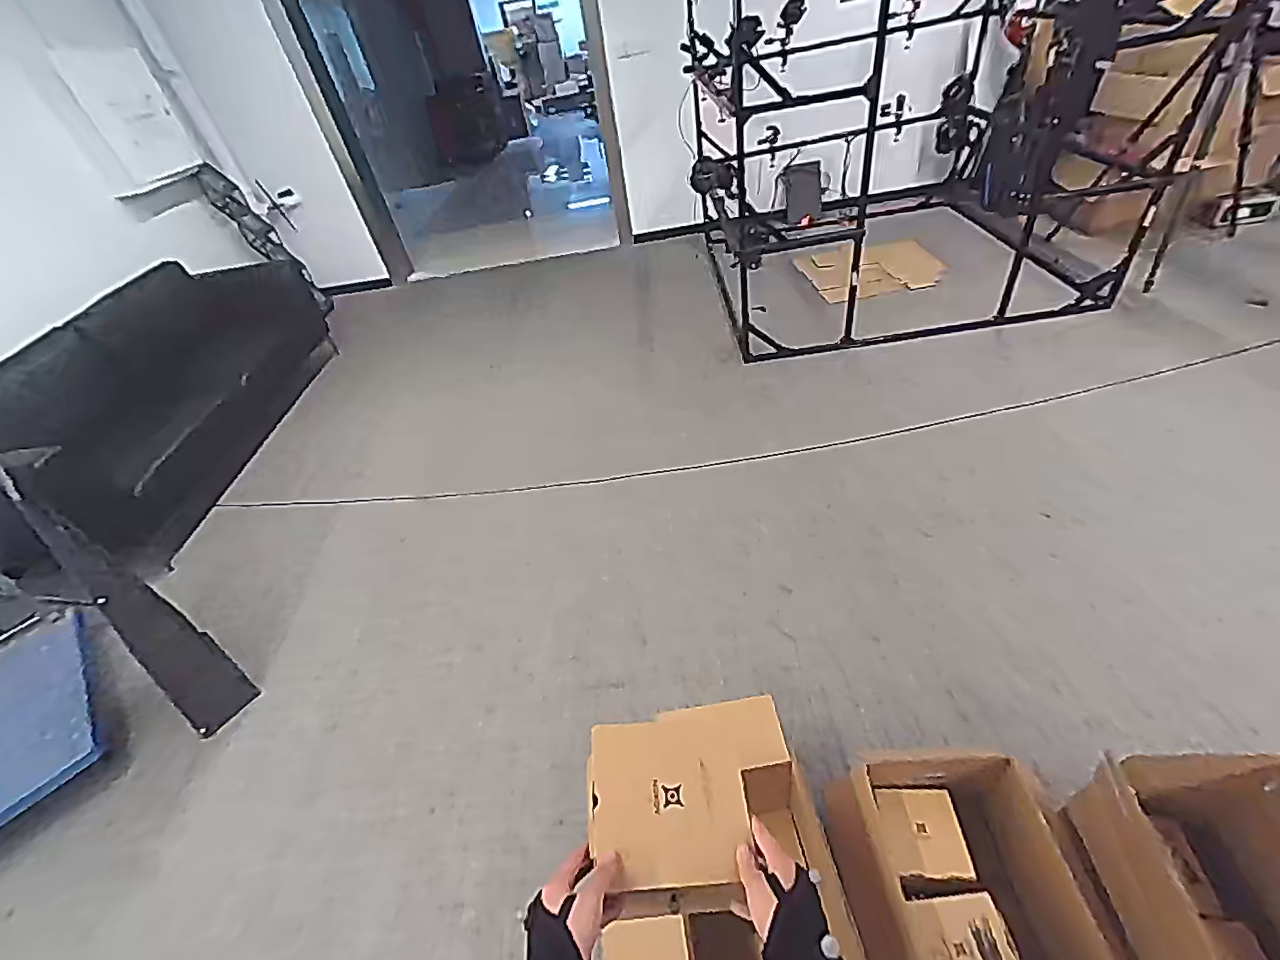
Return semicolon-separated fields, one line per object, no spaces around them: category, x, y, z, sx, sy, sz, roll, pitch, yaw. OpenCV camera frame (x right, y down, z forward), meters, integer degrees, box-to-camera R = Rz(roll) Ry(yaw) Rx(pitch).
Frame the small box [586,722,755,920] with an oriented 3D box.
small box;0.031;0.416;0.659;0.179;0.176;0.168;-3;44;-2
